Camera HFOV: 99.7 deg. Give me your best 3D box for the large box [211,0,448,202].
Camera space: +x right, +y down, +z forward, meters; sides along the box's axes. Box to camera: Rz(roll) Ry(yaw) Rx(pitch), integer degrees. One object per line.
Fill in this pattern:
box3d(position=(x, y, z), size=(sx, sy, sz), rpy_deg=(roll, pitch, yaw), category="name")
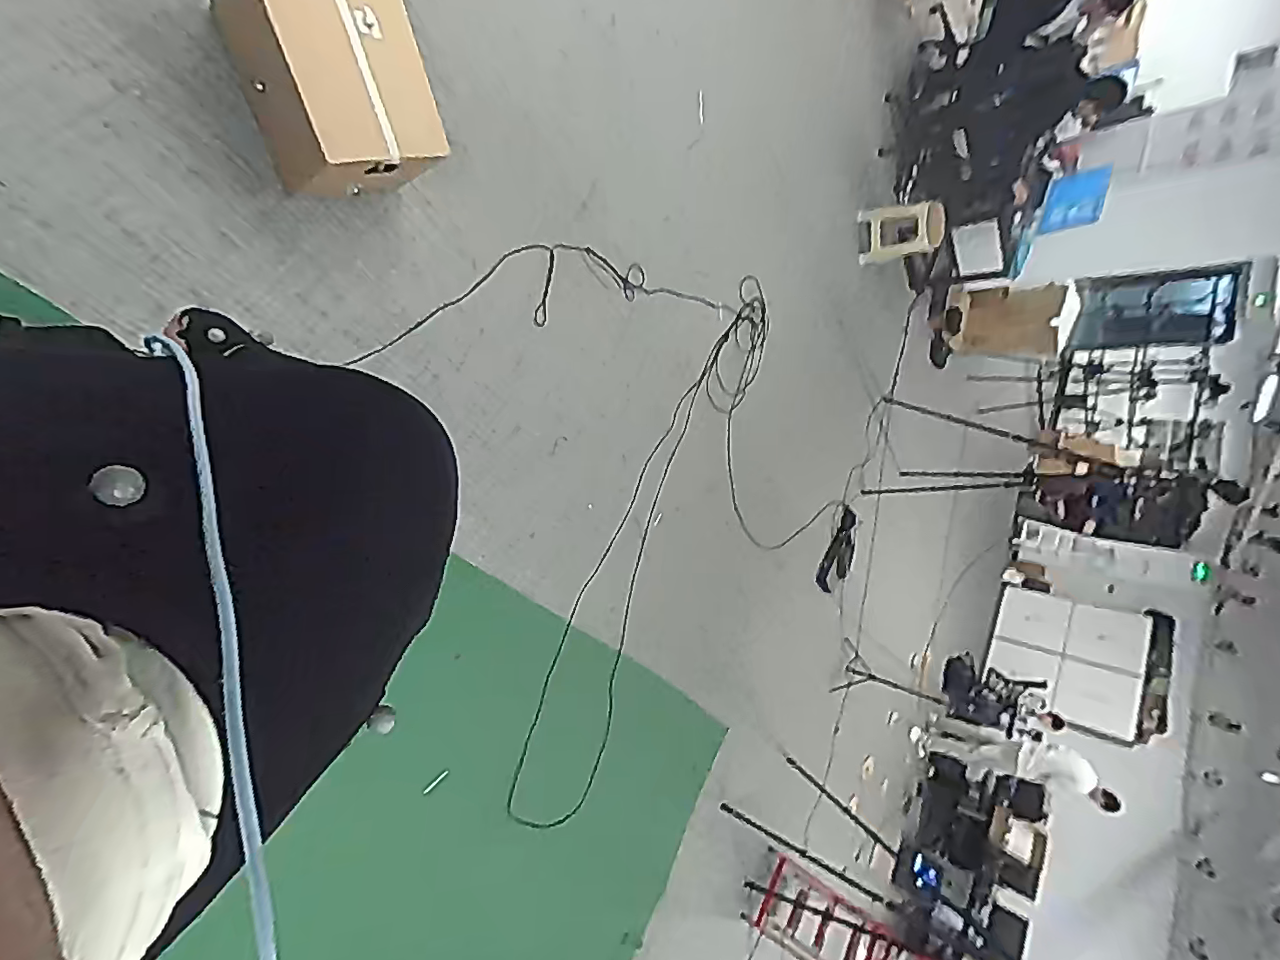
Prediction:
box3d(position=(-0.735, -0.939, 1.297), size=(0.320, 0.320, 0.408), rpy_deg=(-34, 118, -38), category="large box")
